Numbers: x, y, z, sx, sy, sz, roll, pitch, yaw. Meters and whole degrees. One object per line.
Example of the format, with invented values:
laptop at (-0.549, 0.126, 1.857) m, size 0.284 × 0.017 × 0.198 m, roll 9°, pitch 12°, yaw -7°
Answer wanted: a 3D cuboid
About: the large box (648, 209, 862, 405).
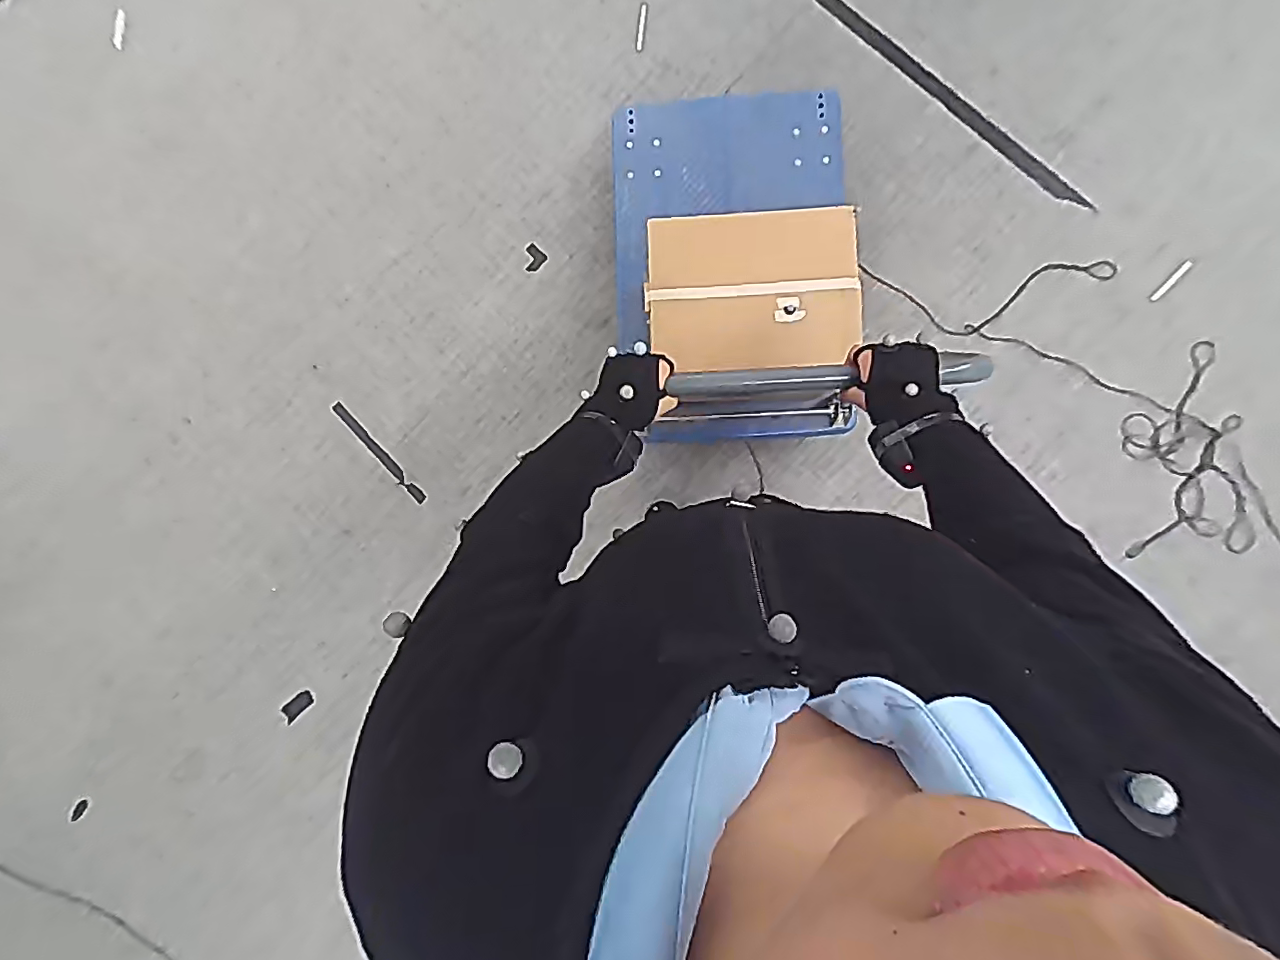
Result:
large box at (0.229, -0.358, 1.204) m, size 0.408 × 0.320 × 0.320 m, roll -2°, pitch 88°, yaw 3°
